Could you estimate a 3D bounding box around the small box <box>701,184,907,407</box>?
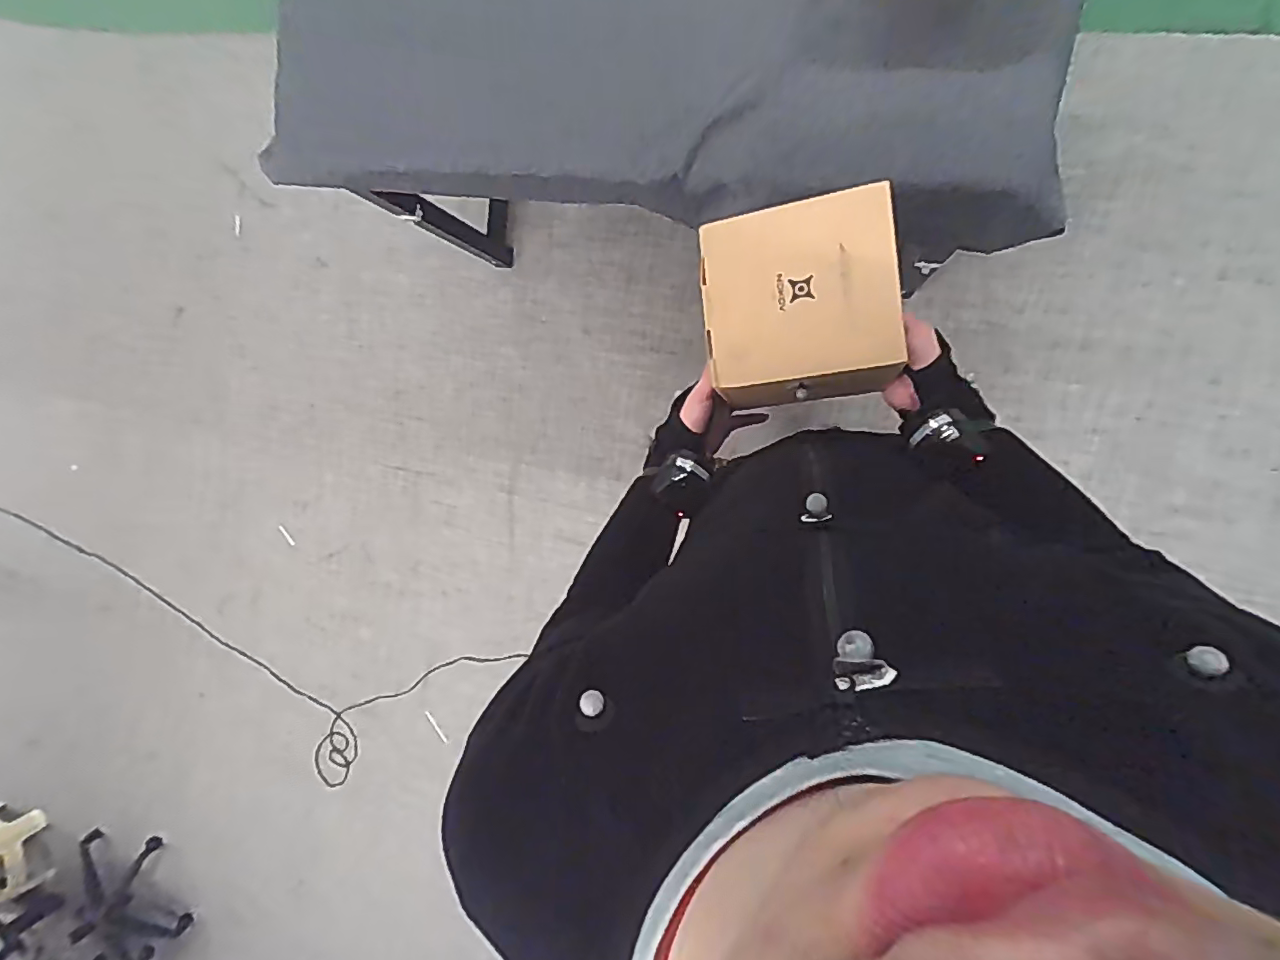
[{"bbox_3d":[0.173,-0.177,0.582,0.179,0.176,0.168,-6,89,17],"label":"small box"}]
